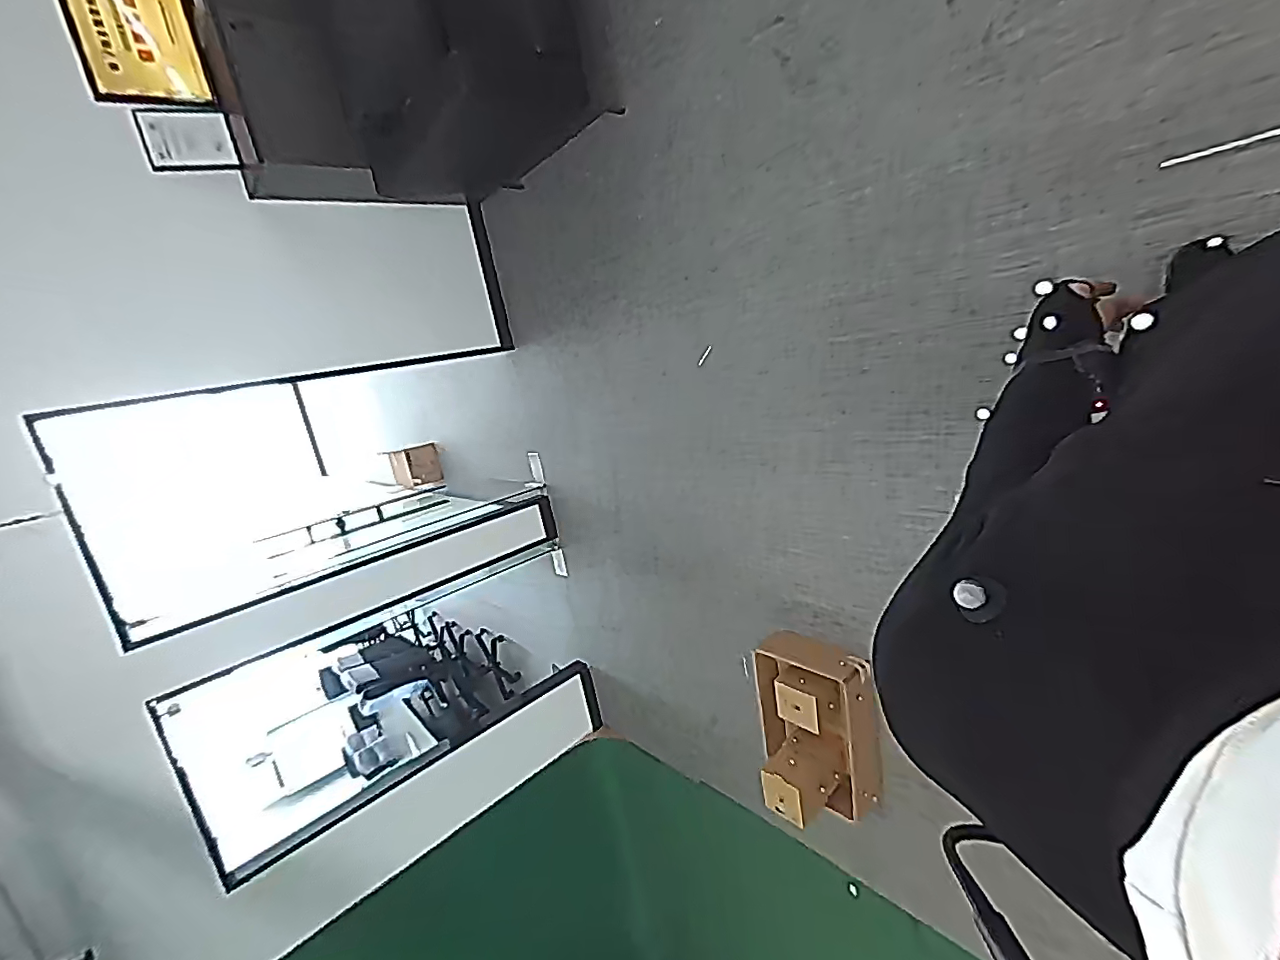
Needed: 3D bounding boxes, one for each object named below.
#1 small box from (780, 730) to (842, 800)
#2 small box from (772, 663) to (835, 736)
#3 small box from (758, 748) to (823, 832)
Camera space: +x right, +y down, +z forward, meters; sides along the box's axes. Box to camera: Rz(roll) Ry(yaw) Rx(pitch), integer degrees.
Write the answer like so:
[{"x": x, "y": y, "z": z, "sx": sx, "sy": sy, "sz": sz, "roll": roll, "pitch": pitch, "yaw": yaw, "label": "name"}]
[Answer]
[{"x": 0.674, "y": 1.097, "z": 2.115, "sx": 0.179, "sy": 0.176, "sz": 0.168, "roll": 6, "pitch": 110, "yaw": 49, "label": "small box"}, {"x": 0.625, "y": 0.823, "z": 2.050, "sx": 0.179, "sy": 0.176, "sz": 0.168, "roll": 8, "pitch": 112, "yaw": 48, "label": "small box"}, {"x": 0.561, "y": 1.137, "z": 2.003, "sx": 0.168, "sy": 0.176, "sz": 0.179, "roll": 6, "pitch": 109, "yaw": 49, "label": "small box"}]
